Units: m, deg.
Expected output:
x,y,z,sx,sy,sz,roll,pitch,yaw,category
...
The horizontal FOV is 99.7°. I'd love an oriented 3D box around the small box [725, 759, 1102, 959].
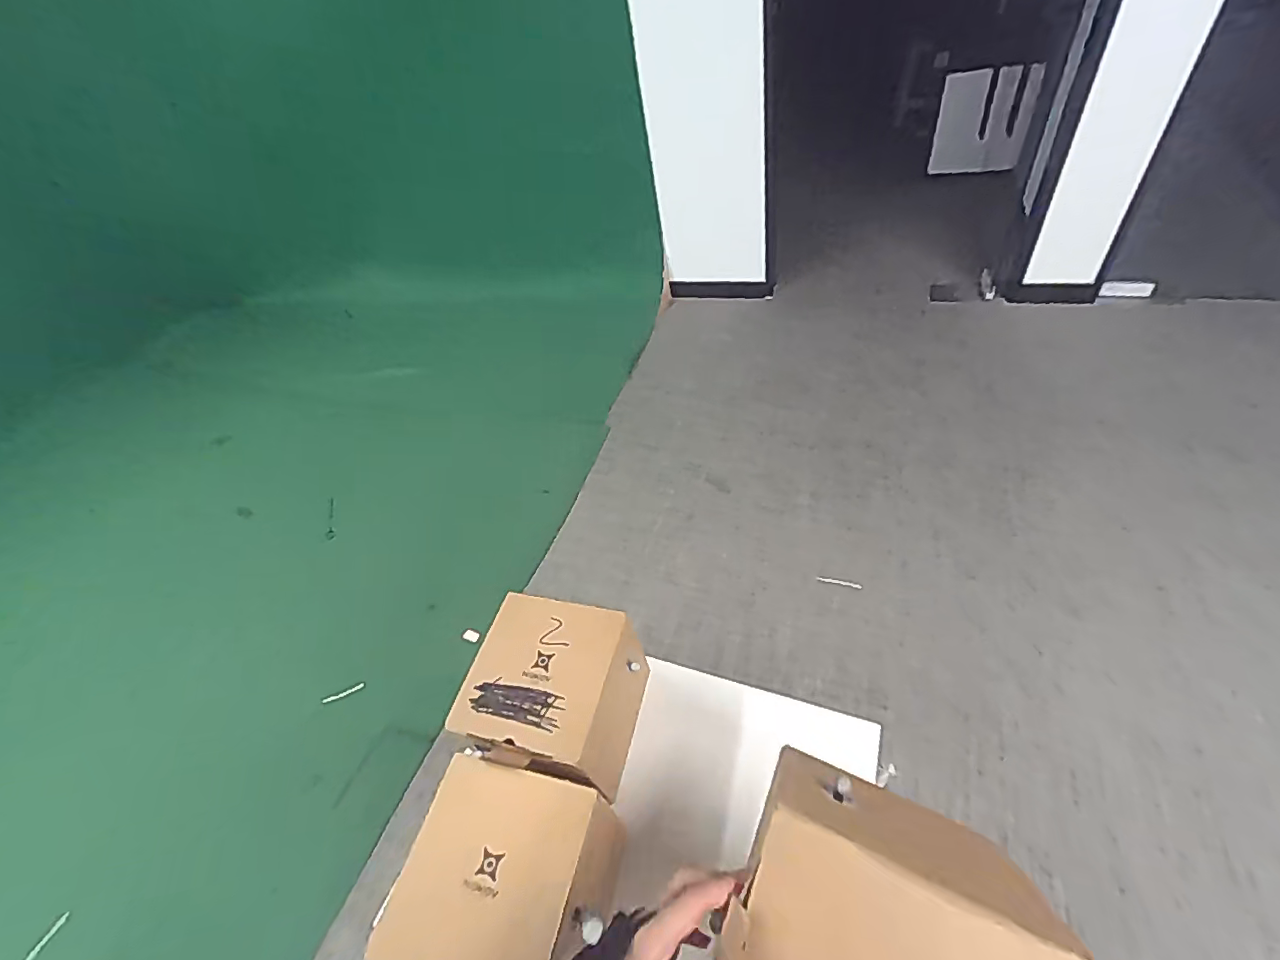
x,y,z,sx,sy,sz,roll,pitch,yaw,category
0.157,0.316,0.365,0.179,0.176,0.168,15,83,19,small box
